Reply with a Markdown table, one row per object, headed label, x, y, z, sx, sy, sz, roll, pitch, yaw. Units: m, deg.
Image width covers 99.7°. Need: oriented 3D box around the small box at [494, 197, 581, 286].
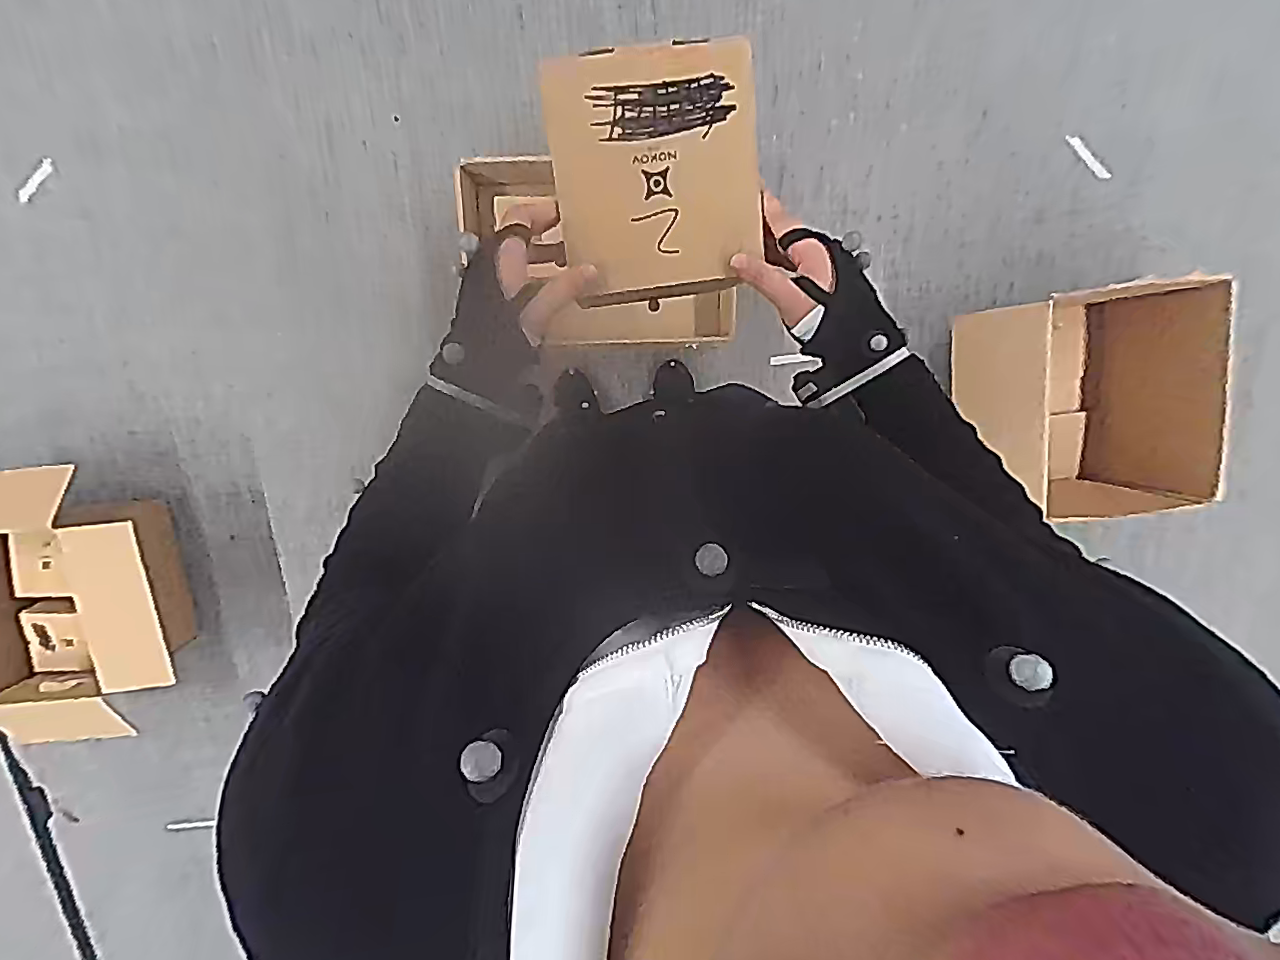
| label | x | y | z | sx | sy | sz | roll | pitch | yaw |
| --- | --- | --- | --- | --- | --- | --- | --- | --- | --- |
| small box | -0.233 | -0.549 | 1.262 | 0.179 | 0.176 | 0.168 | -2 | 104 | -3 |
